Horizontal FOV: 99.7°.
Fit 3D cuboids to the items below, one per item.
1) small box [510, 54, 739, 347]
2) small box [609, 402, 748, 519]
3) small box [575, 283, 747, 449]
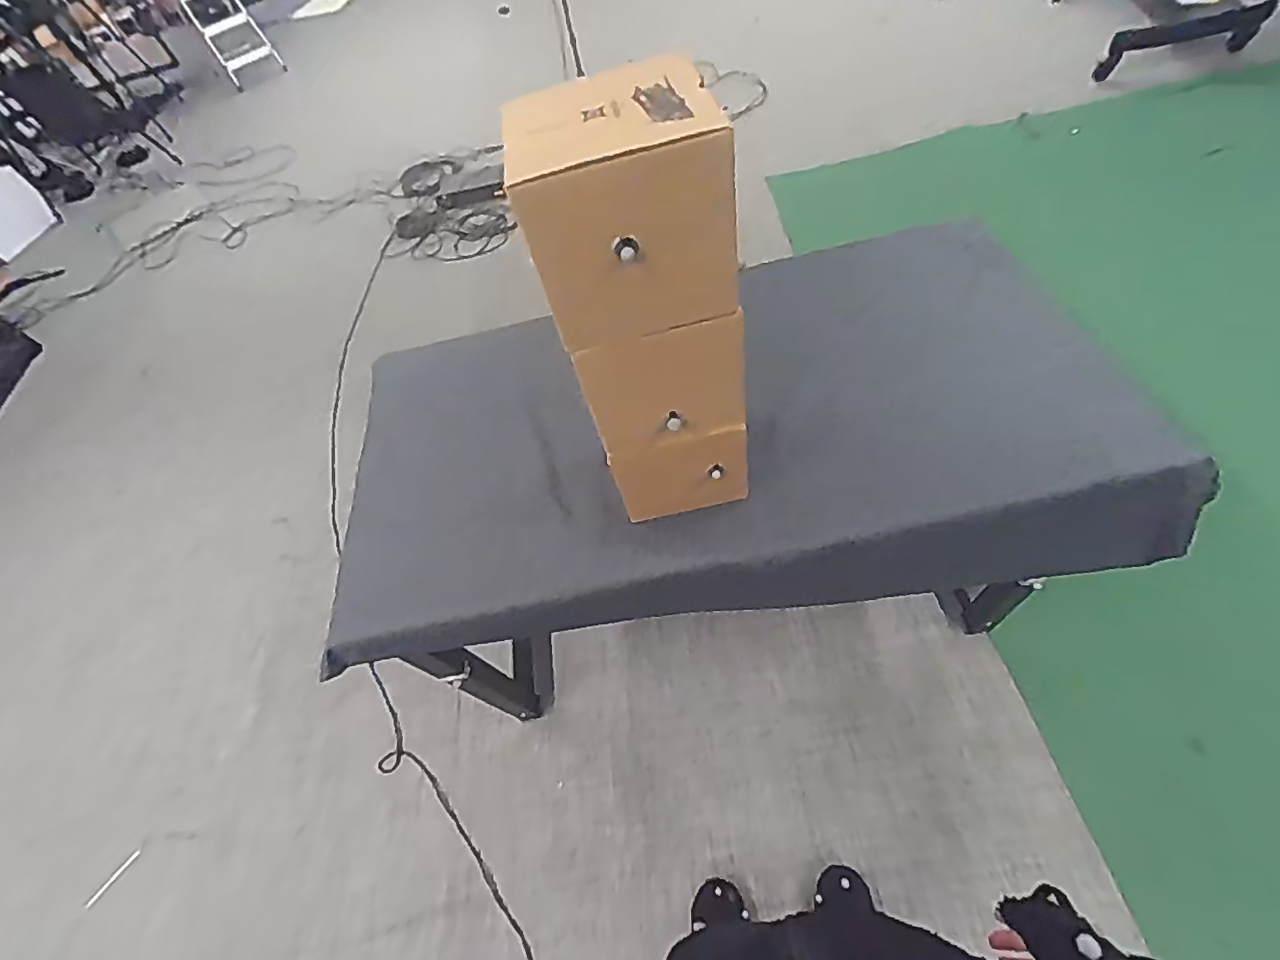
[{"bbox_3d":[-0.010,-0.255,0.512,0.179,0.176,0.168,-13,54,4],"label":"small box"},{"bbox_3d":[0.051,-0.067,0.774,0.179,0.176,0.168,-14,54,4],"label":"small box"},{"bbox_3d":[0.021,-0.161,0.644,0.179,0.176,0.168,-13,54,2],"label":"small box"}]
